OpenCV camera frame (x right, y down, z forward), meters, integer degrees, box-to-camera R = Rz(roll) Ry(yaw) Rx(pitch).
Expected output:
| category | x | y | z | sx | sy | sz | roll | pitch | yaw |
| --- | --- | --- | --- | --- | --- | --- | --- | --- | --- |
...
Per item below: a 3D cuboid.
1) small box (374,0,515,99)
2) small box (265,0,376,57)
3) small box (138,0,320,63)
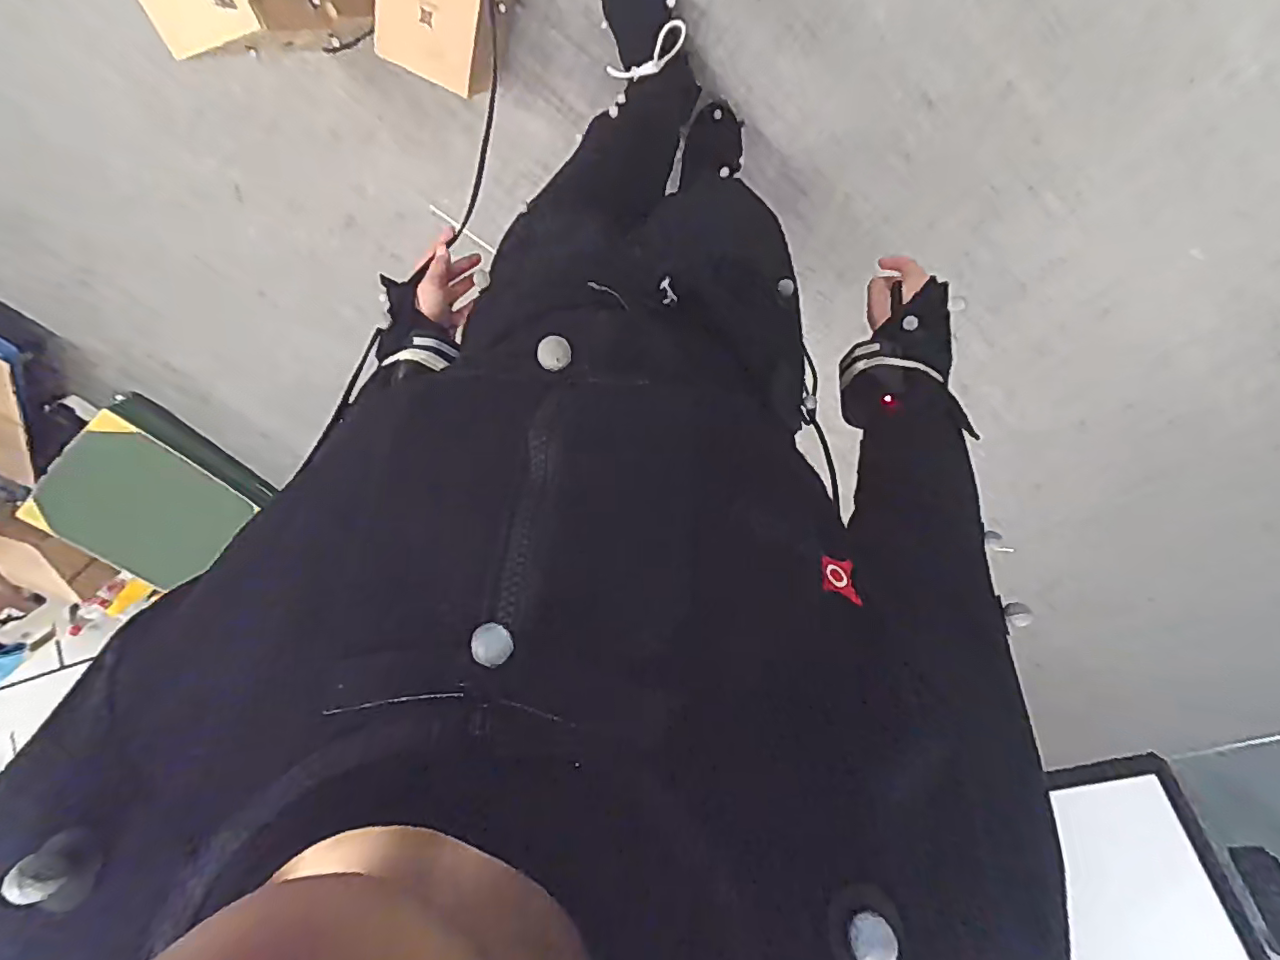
| category | x | y | z | sx | sy | sz | roll | pitch | yaw |
| --- | --- | --- | --- | --- | --- | --- | --- | --- | --- |
| small box | -0.324 | -0.788 | 0.914 | 0.168 | 0.176 | 0.179 | 22 | 132 | -7 |
| small box | -0.575 | -0.852 | 0.908 | 0.168 | 0.176 | 0.179 | -7 | 129 | 19 |
| small box | -0.612 | -0.740 | 0.792 | 0.179 | 0.176 | 0.168 | -3 | 130 | 16 |
